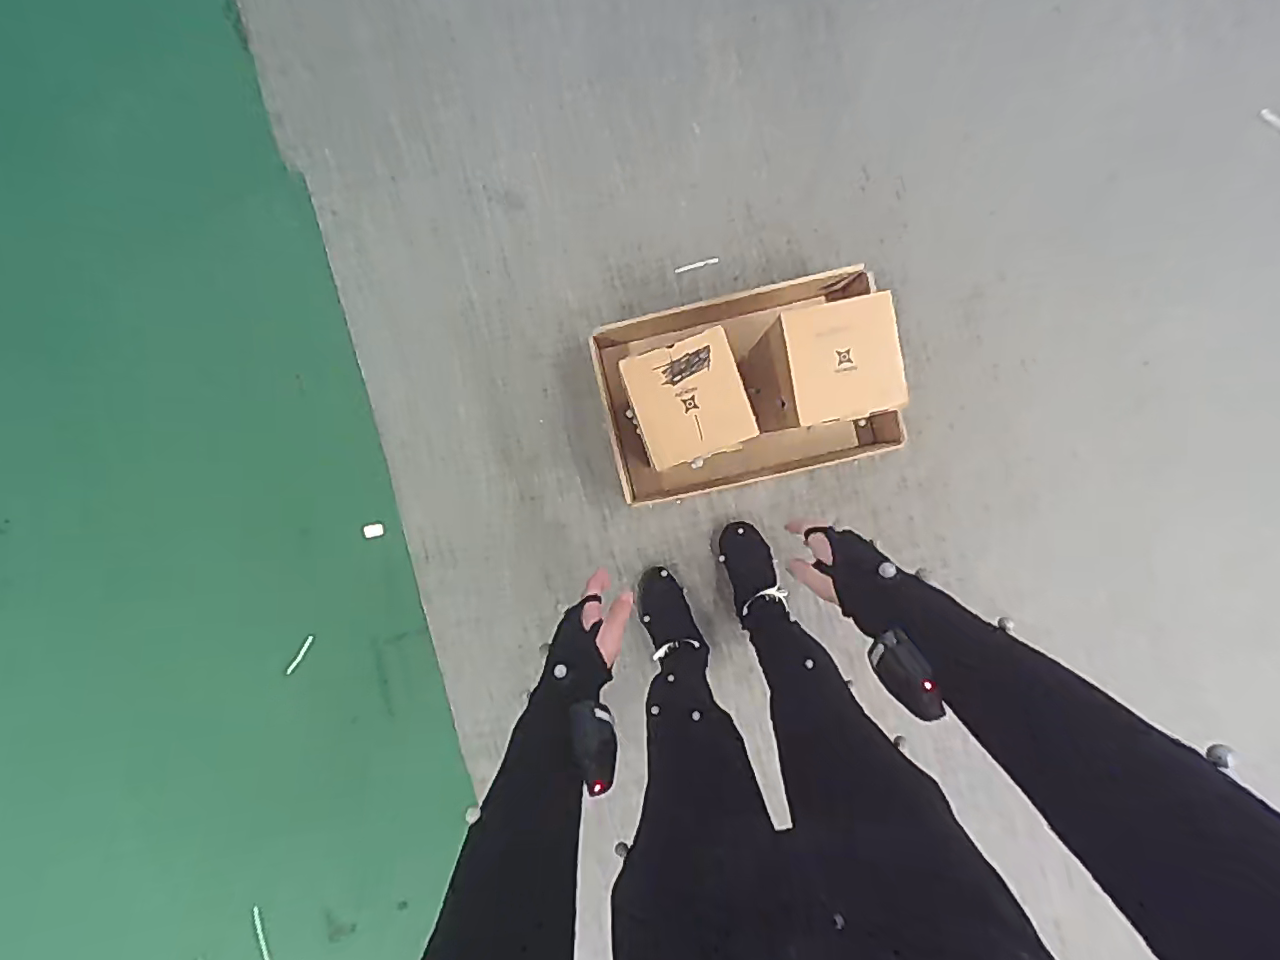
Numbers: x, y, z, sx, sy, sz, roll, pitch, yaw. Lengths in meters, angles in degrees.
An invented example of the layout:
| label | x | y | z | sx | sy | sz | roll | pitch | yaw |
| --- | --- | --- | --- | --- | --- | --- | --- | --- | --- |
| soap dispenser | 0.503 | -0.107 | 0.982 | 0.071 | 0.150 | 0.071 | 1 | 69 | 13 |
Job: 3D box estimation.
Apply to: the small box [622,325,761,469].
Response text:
| label | x | y | z | sx | sy | sz | roll | pitch | yaw |
| --- | --- | --- | --- | --- | --- | --- | --- | --- | --- |
| small box | 0.076 | -0.123 | 0.878 | 0.168 | 0.176 | 0.179 | -20 | 91 | 1 |

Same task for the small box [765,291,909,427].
| label | x | y | z | sx | sy | sz | roll | pitch | yaw |
| --- | --- | --- | --- | --- | --- | --- | --- | --- | --- |
| small box | 0.308 | -0.183 | 0.875 | 0.168 | 0.176 | 0.179 | -10 | 92 | 3 |
